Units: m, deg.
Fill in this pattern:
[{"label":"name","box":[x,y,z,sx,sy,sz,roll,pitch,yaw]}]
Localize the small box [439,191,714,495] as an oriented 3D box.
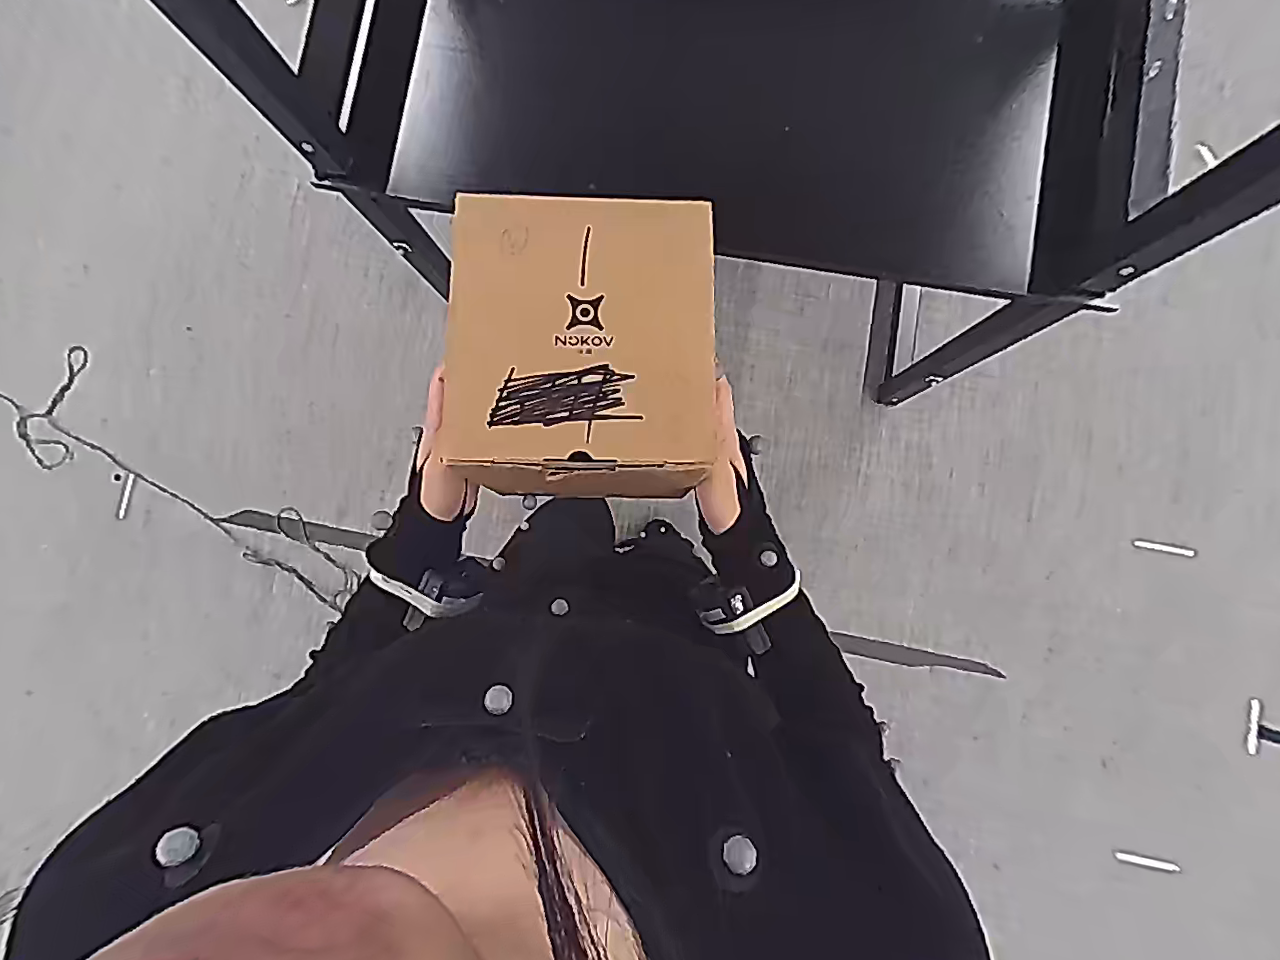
[{"label":"small box","box":[-0.039,-0.083,0.409,0.168,0.176,0.179,1,81,-3]}]
